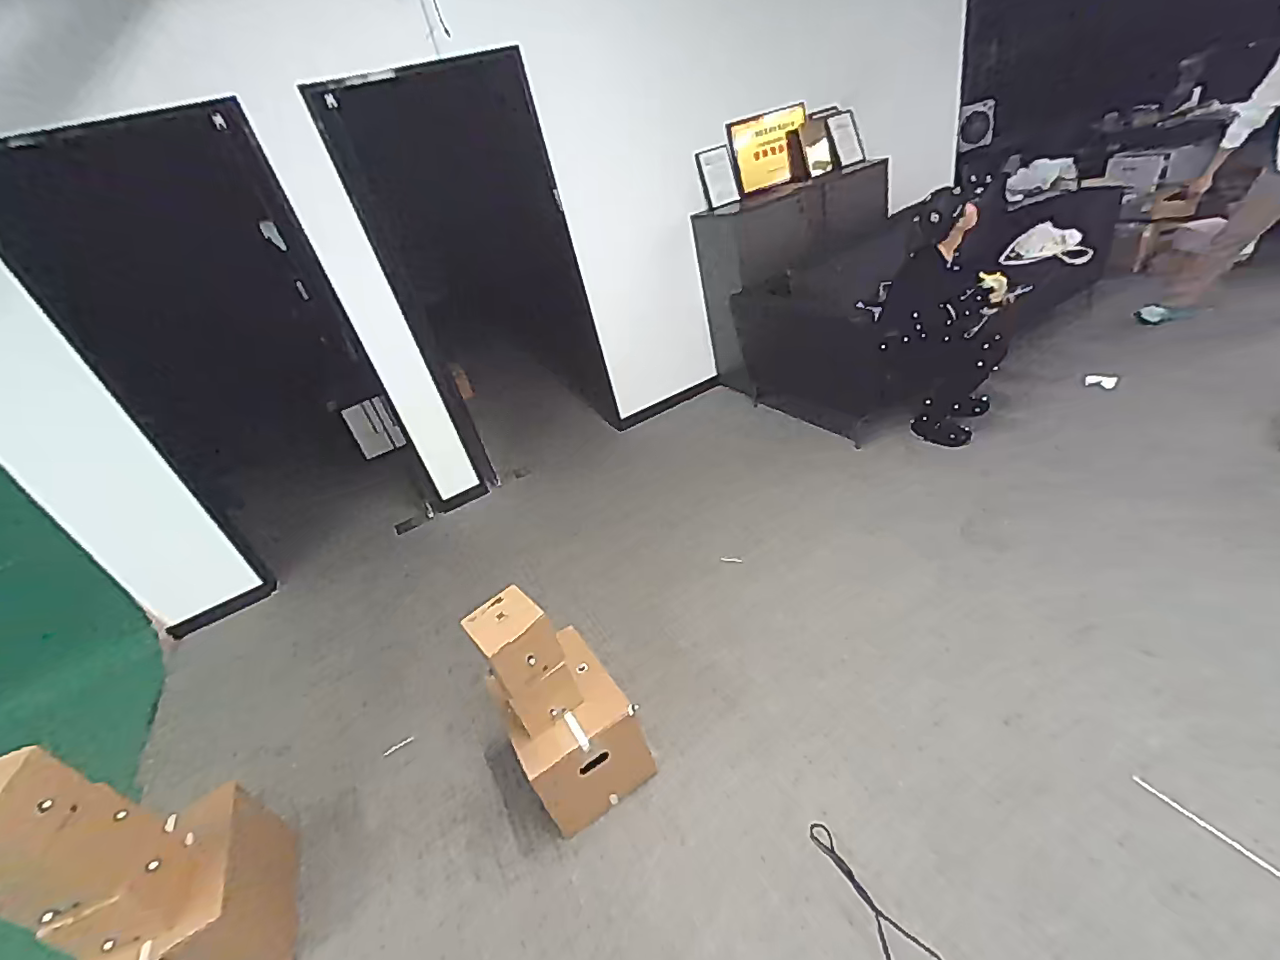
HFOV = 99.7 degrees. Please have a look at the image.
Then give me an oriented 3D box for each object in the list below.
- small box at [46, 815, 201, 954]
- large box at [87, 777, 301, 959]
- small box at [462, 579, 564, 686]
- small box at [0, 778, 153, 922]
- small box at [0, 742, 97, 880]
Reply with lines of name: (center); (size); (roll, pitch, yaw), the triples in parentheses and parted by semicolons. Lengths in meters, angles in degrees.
small box: (-1.168, 0.929, 1.245); (0.168, 0.176, 0.179); (-23, 33, -10)
large box: (-1.132, 1.105, 1.416); (0.320, 0.320, 0.408); (-28, 33, -19)
small box: (-0.321, 0.396, 1.389); (0.168, 0.176, 0.179); (-35, 38, -25)
small box: (-1.215, 0.795, 1.164); (0.168, 0.176, 0.179); (-21, 34, -7)
small box: (-1.260, 0.667, 1.071); (0.179, 0.176, 0.168); (-21, 32, -6)
